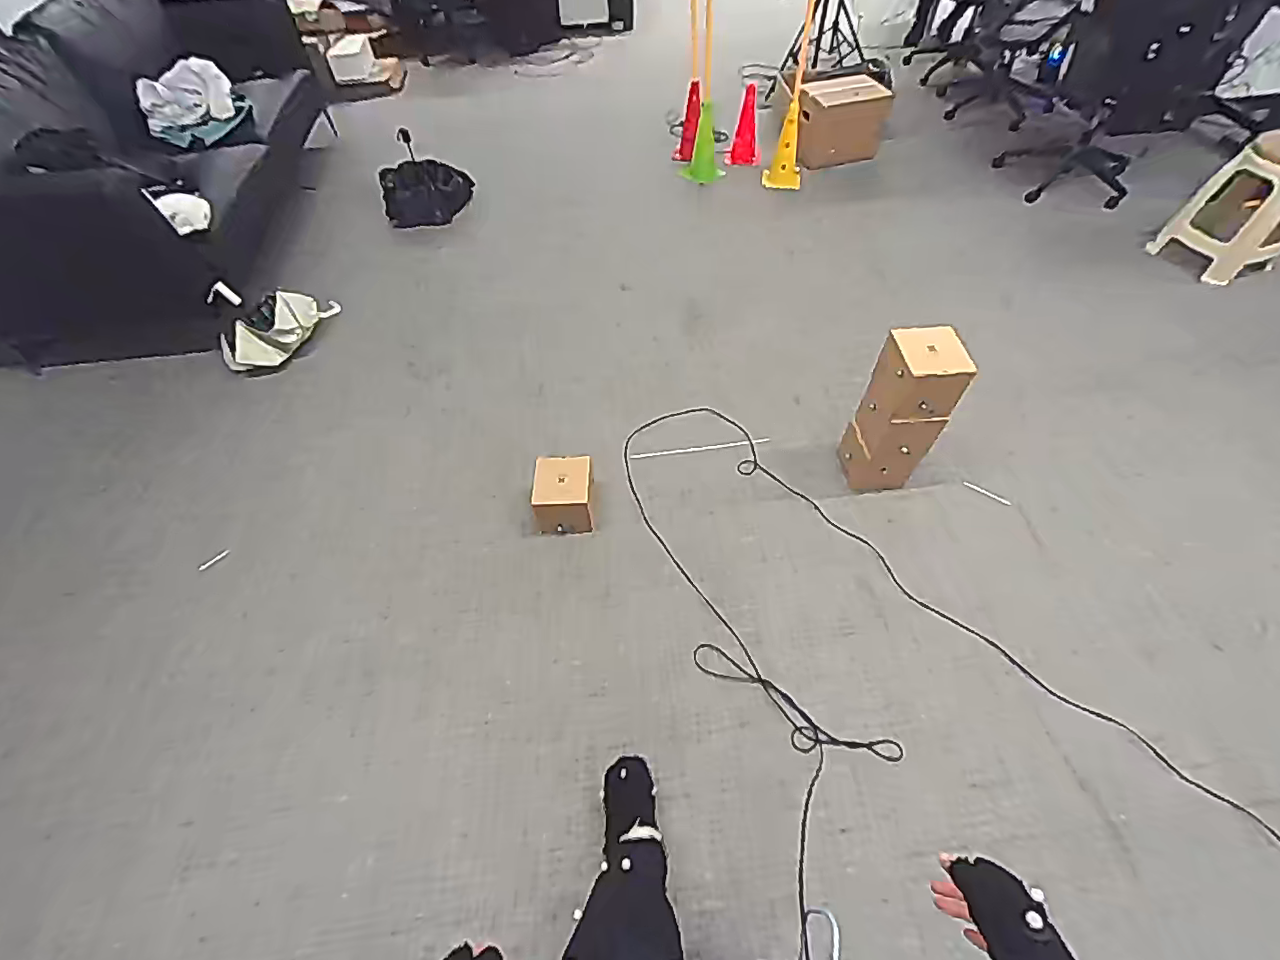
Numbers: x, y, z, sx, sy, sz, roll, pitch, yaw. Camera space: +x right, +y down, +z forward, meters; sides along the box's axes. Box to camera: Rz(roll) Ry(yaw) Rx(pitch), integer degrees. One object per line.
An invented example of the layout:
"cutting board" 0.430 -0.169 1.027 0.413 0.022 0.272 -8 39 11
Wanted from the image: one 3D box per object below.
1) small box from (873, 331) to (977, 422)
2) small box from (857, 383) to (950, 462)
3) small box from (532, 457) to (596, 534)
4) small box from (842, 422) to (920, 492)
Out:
"small box" 0.748 -0.275 1.446 0.168 0.176 0.179 -4 55 -1
"small box" 0.754 -0.172 1.572 0.168 0.176 0.179 -4 55 -1
"small box" -0.224 0.049 1.646 0.168 0.176 0.179 -2 54 2
"small box" 0.753 -0.075 1.705 0.179 0.176 0.168 -5 54 -1
